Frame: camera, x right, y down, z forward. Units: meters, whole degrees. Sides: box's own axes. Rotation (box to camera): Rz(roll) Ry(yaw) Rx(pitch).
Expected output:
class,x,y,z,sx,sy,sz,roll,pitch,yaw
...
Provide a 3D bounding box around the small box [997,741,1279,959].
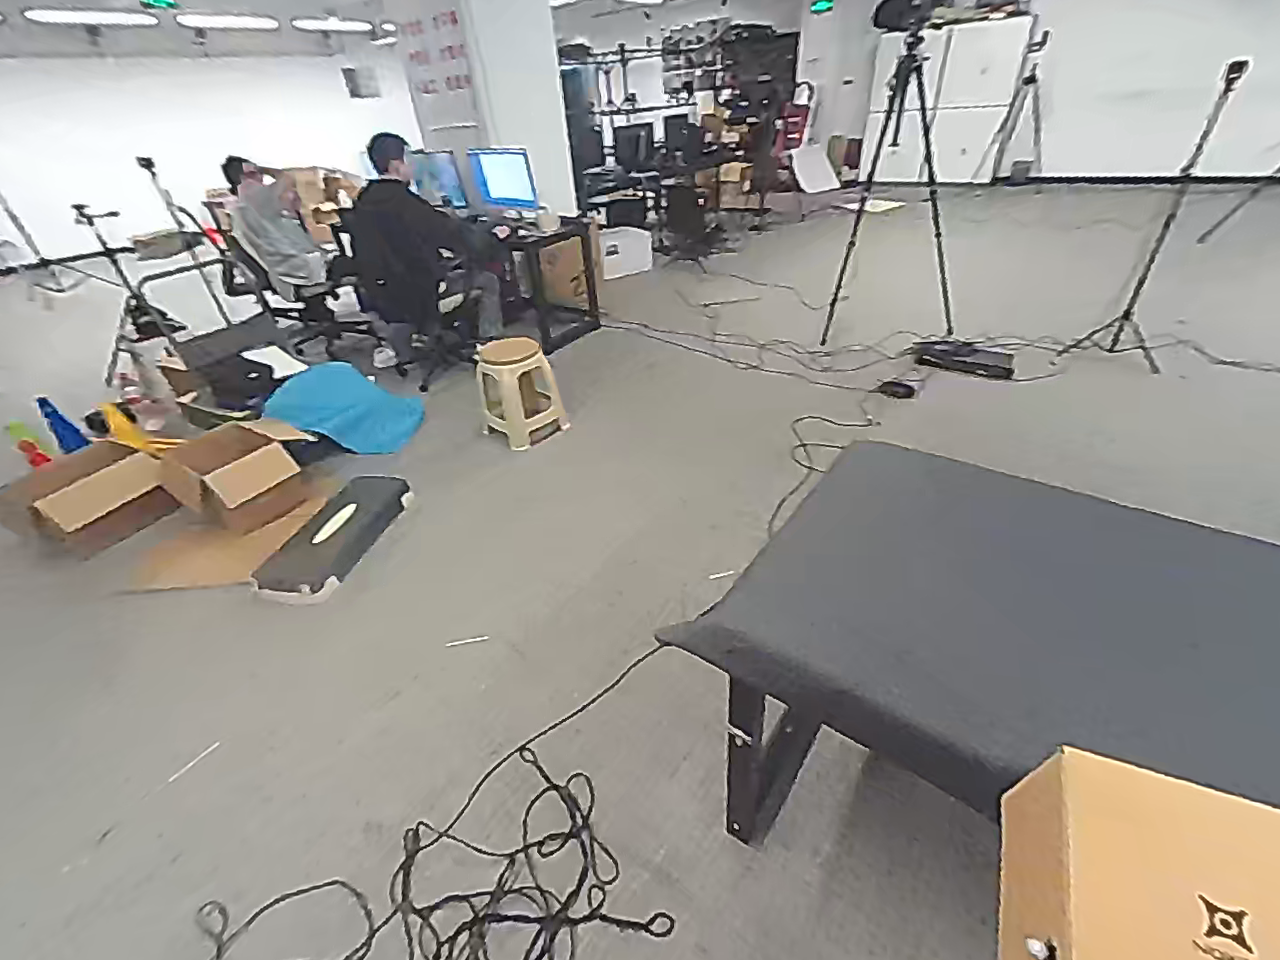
class,x,y,z,sx,sy,sz,roll,pitch,yaw
small box,0.382,0.330,0.399,0.168,0.176,0.179,11,54,23
